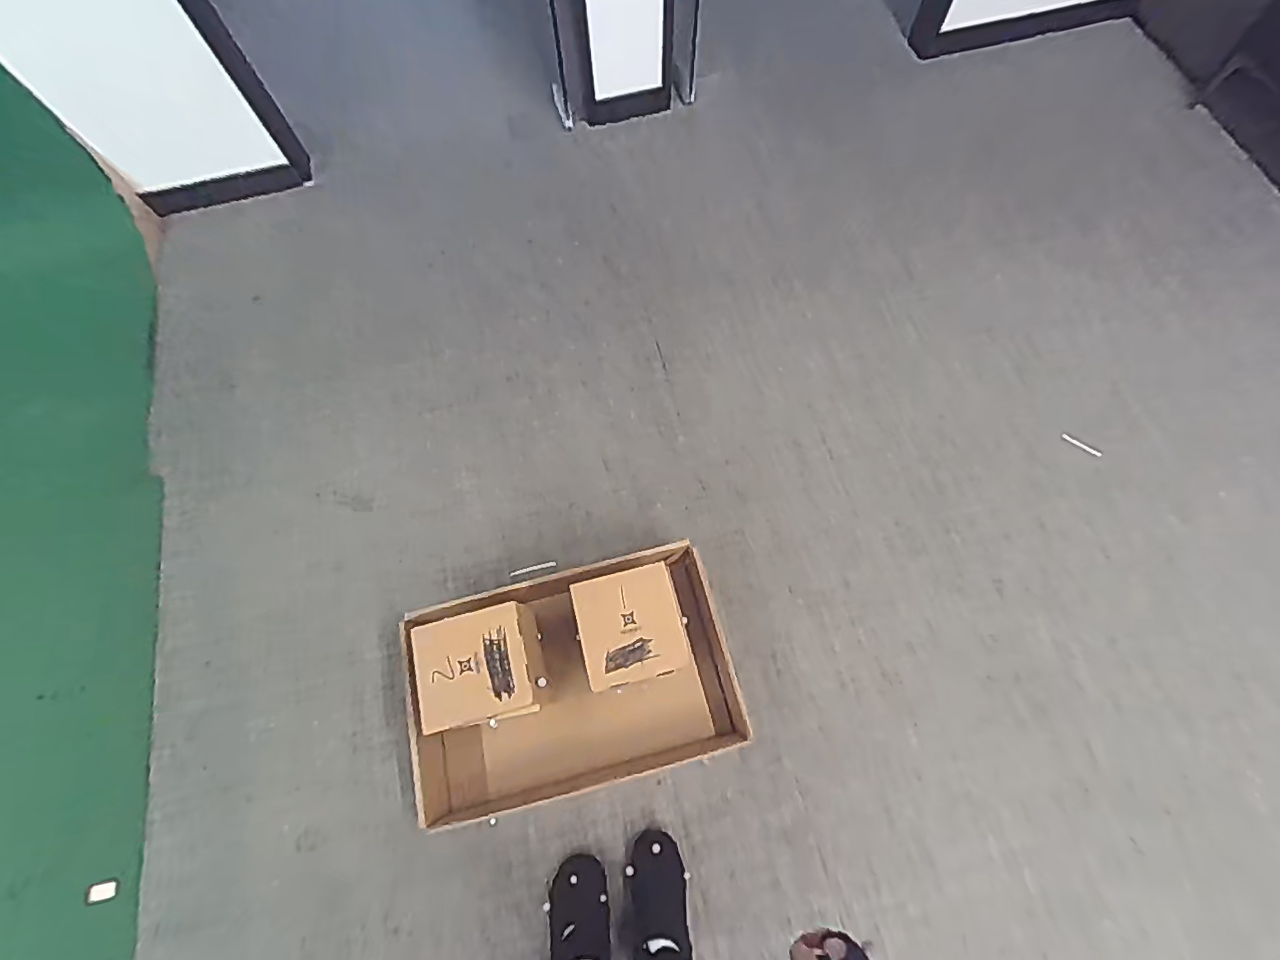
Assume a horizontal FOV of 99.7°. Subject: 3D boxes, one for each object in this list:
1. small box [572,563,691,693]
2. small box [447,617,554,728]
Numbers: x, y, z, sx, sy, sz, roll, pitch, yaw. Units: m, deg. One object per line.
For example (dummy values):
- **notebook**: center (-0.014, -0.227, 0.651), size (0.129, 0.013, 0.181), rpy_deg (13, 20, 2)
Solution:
- **small box**: center (-0.012, 0.262, 0.950), size (0.168, 0.176, 0.179), rpy_deg (-14, 70, -3)
- **small box**: center (-0.274, 0.385, 1.087), size (0.168, 0.176, 0.179), rpy_deg (-10, 69, -3)
